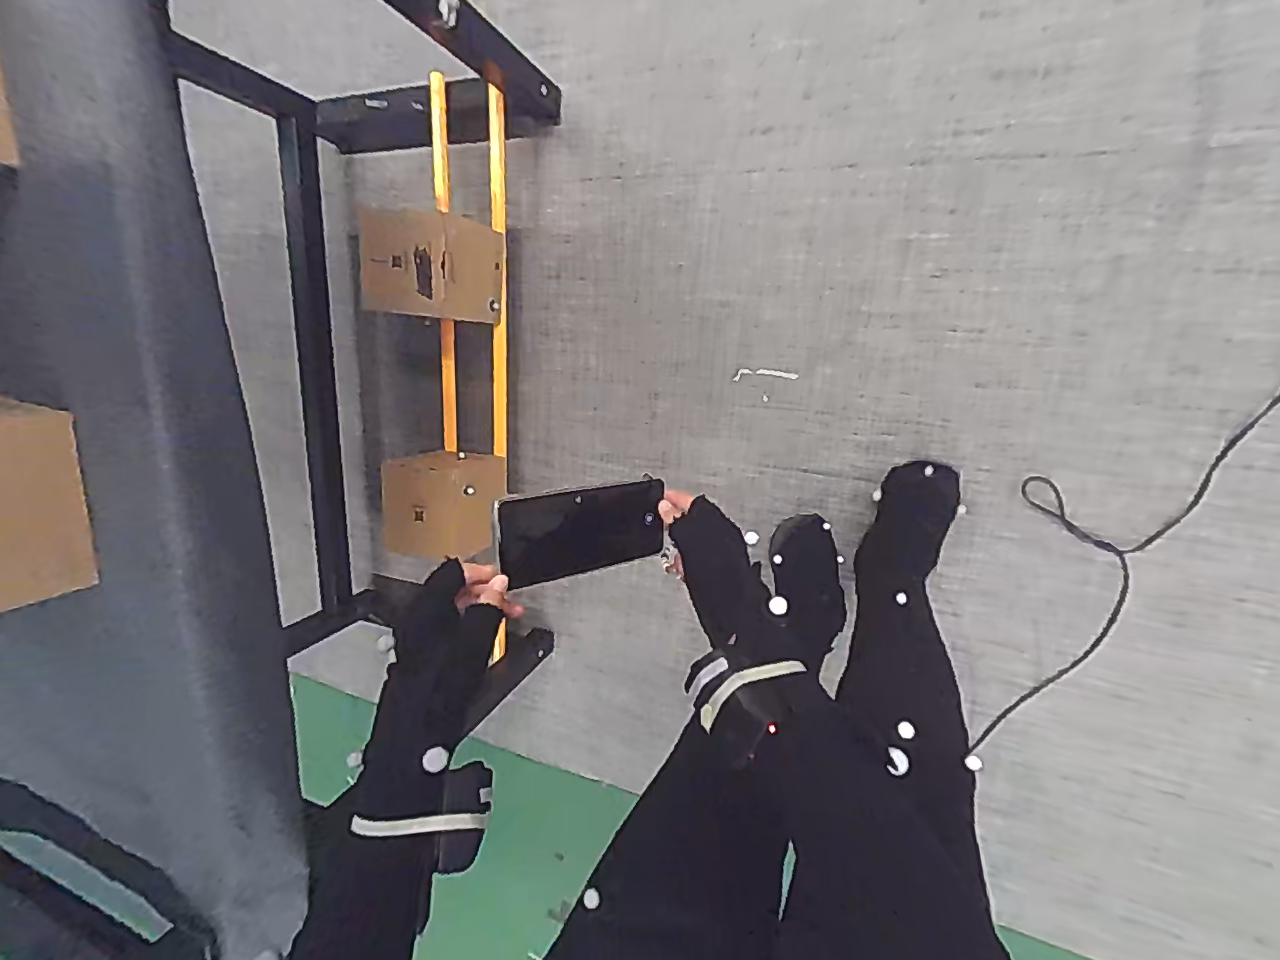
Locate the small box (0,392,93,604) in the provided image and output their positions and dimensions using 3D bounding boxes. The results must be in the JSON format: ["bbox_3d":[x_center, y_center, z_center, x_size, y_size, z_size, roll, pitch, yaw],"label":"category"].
[{"bbox_3d":[-0.638,0.021,0.479,0.168,0.176,0.179,11,105,18],"label":"small box"}]

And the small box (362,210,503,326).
[{"bbox_3d":[-0.365,-0.373,0.972,0.179,0.176,0.168,11,105,18],"label":"small box"}]
